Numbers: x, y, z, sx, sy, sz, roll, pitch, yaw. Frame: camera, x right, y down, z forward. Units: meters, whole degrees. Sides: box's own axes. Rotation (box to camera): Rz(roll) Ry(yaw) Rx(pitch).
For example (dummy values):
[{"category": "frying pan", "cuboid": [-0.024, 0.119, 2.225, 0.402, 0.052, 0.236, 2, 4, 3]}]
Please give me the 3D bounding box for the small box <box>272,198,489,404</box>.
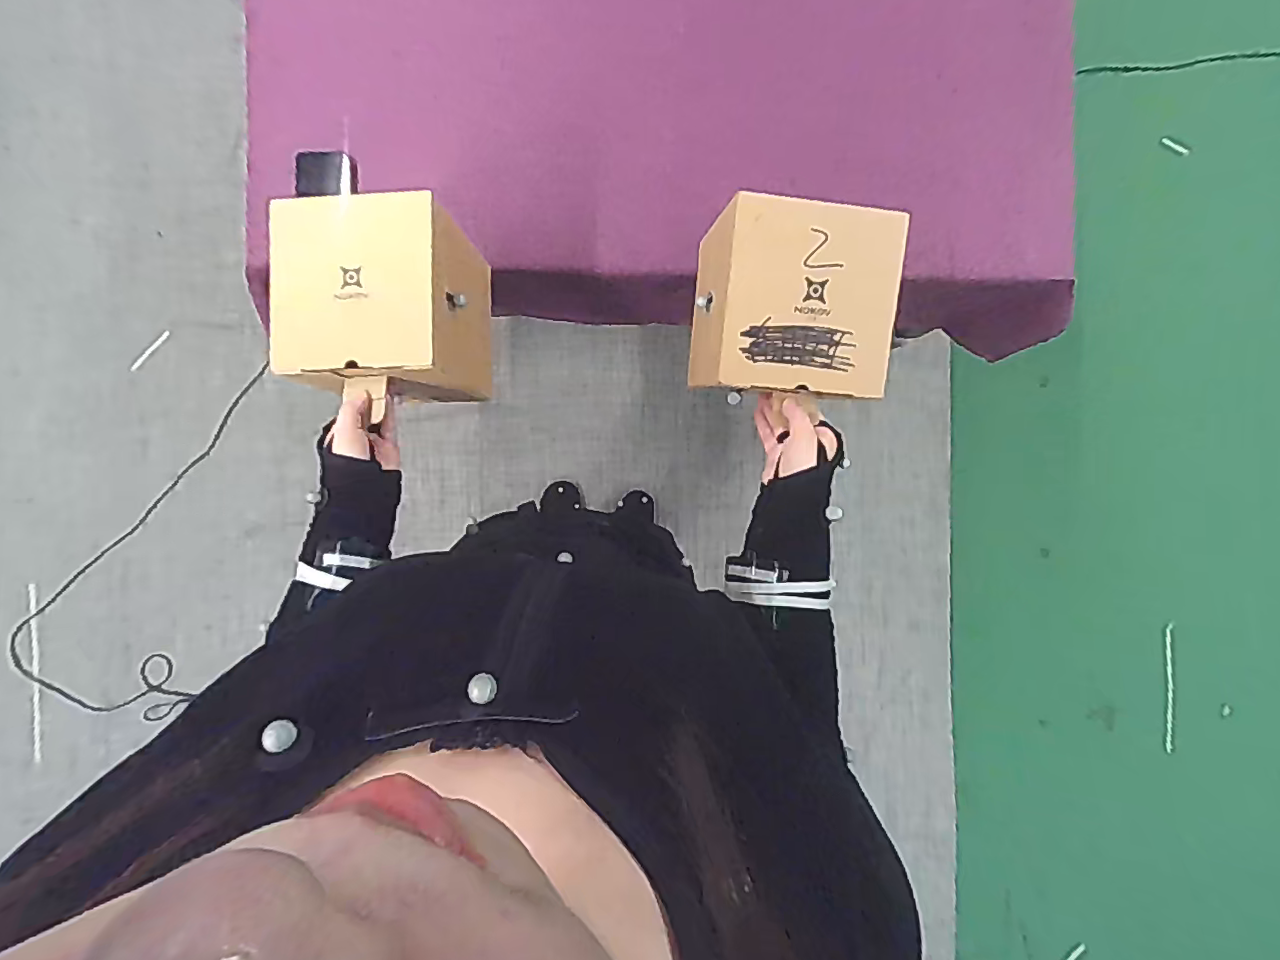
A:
[{"category": "small box", "cuboid": [-0.278, -0.189, 0.613, 0.168, 0.176, 0.179, -1, 89, 3]}]
